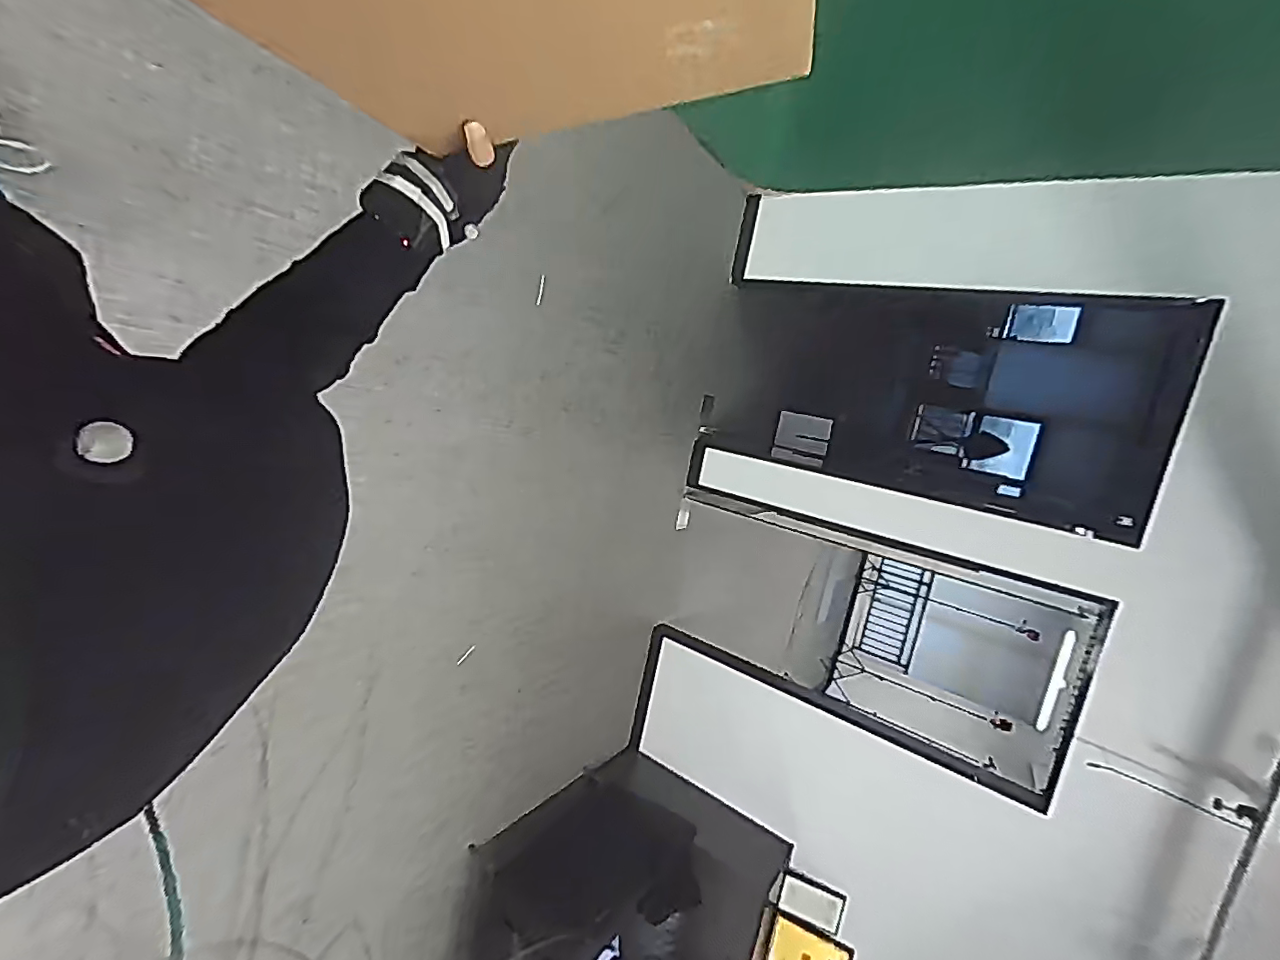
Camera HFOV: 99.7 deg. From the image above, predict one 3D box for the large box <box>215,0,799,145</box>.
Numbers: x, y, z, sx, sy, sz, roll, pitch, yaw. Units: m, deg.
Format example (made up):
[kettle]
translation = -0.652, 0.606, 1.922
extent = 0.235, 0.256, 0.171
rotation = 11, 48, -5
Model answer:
[large box]
translation = -0.103, -0.408, 0.221
extent = 0.408, 0.320, 0.320
rotation = -25, 115, -70
